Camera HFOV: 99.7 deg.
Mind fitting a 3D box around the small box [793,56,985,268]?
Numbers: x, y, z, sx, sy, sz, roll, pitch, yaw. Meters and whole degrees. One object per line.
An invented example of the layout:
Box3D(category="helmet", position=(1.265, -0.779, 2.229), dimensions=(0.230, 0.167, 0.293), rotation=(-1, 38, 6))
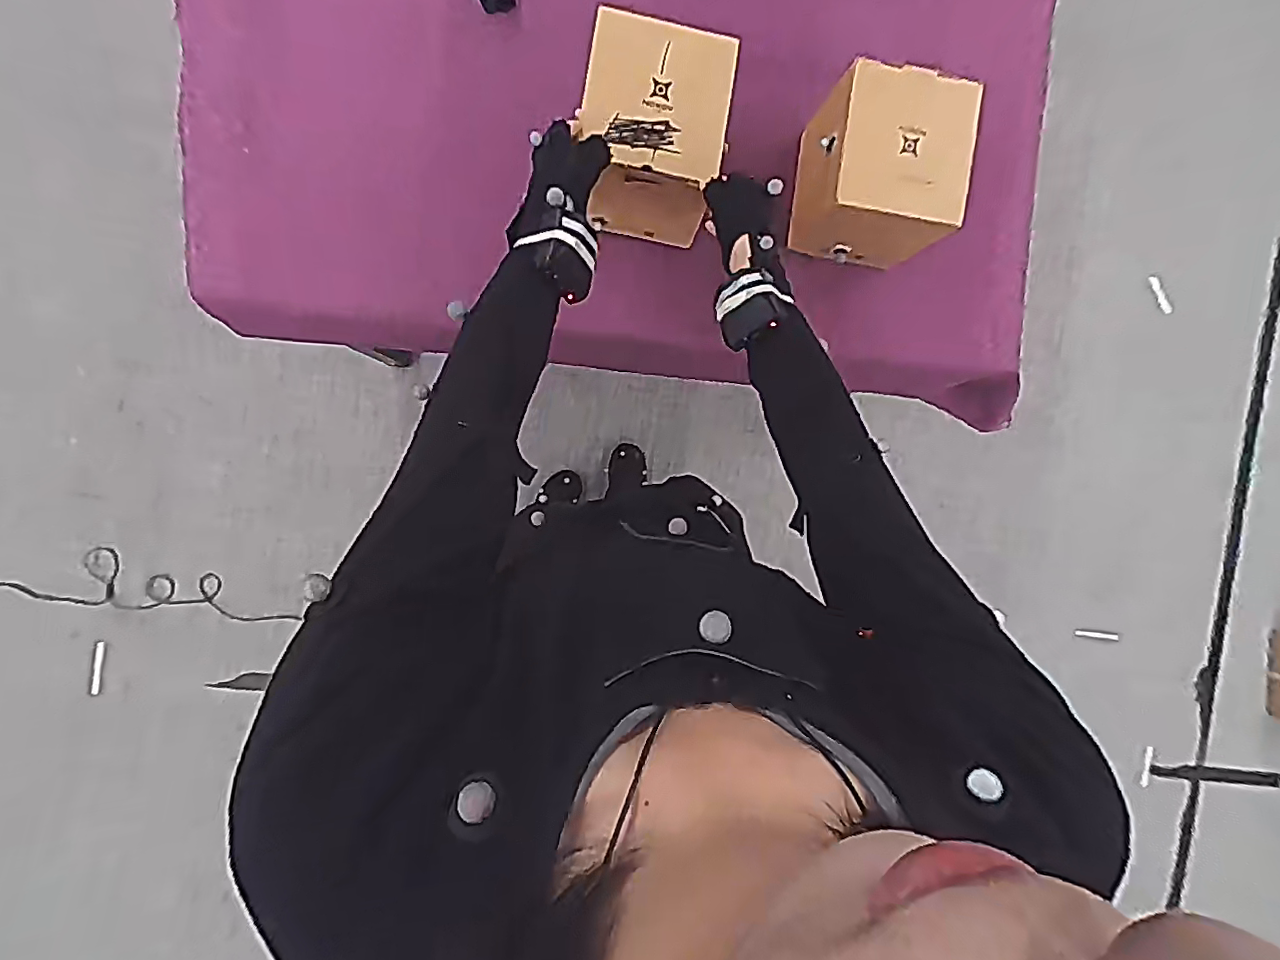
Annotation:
Box3D(category="small box", position=(0.322, -0.412, 0.732), dimensions=(0.168, 0.176, 0.179), rotation=(7, 93, -6))

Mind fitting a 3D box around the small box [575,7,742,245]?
Box3D(category="small box", position=(0.016, -0.429, 0.688), dimensions=(0.168, 0.176, 0.179), rotation=(10, 88, -5))
